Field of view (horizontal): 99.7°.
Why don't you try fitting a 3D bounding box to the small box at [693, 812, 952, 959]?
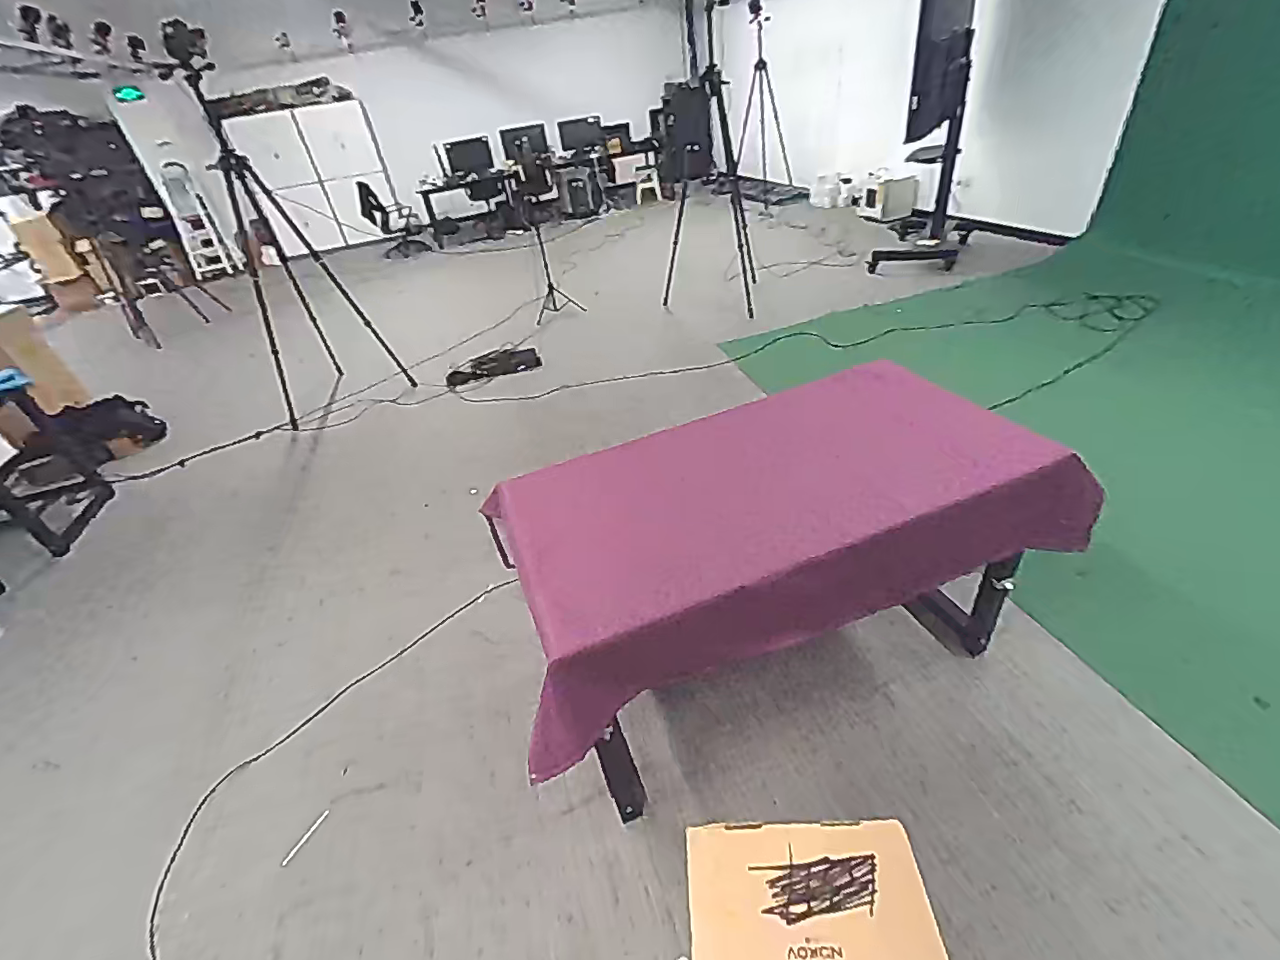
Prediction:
[{"bbox_3d":[0.128,0.377,0.401,0.168,0.176,0.179,-6,38,5],"label":"small box"}]
